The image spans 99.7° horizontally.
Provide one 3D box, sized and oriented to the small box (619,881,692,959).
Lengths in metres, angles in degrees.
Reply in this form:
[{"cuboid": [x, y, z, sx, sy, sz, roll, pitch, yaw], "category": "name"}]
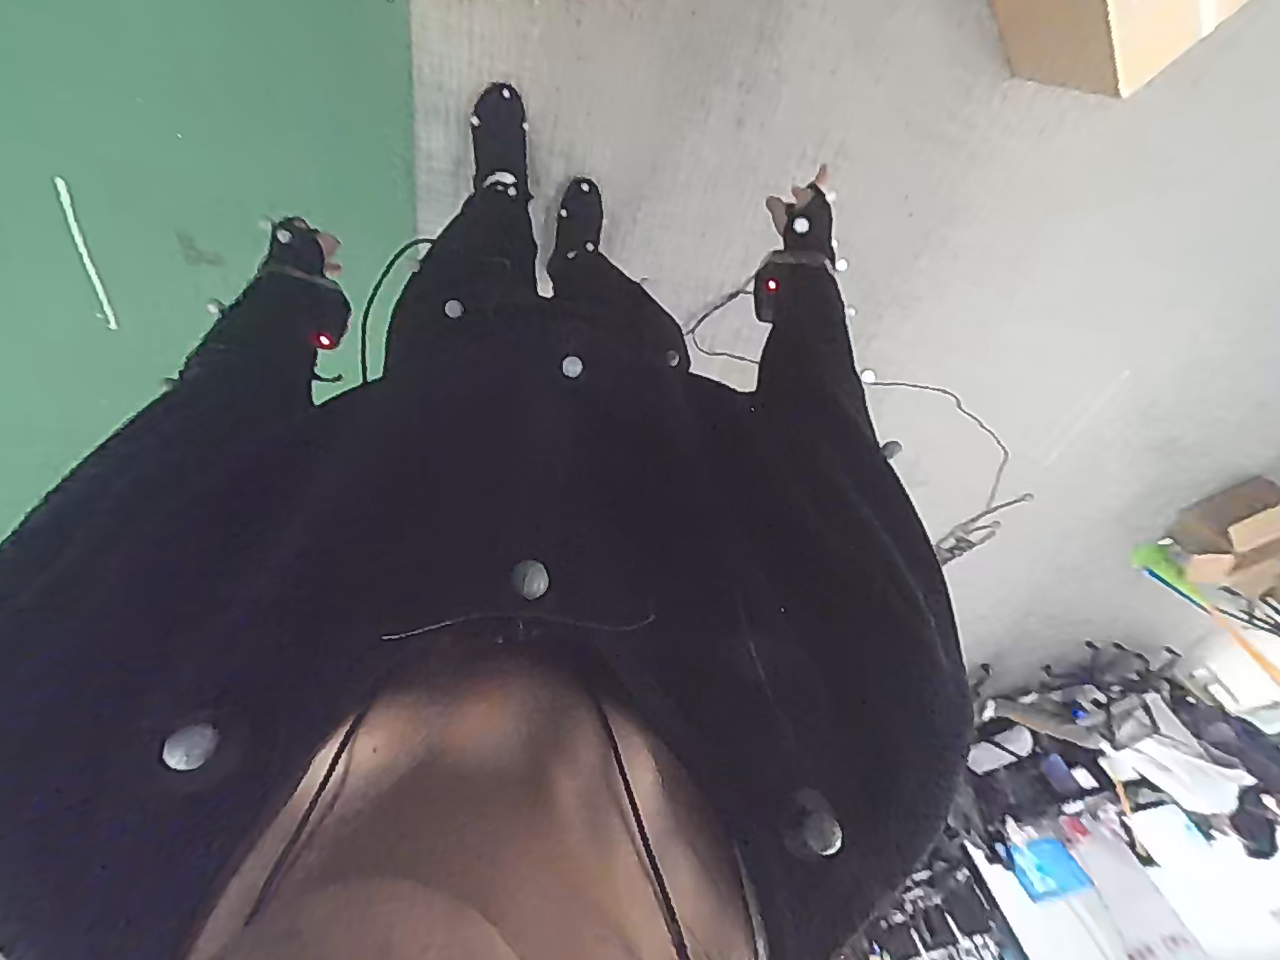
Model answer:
[{"cuboid": [0.042, 1.402, 1.714, 0.168, 0.176, 0.179, 5, 127, -20], "category": "small box"}]
